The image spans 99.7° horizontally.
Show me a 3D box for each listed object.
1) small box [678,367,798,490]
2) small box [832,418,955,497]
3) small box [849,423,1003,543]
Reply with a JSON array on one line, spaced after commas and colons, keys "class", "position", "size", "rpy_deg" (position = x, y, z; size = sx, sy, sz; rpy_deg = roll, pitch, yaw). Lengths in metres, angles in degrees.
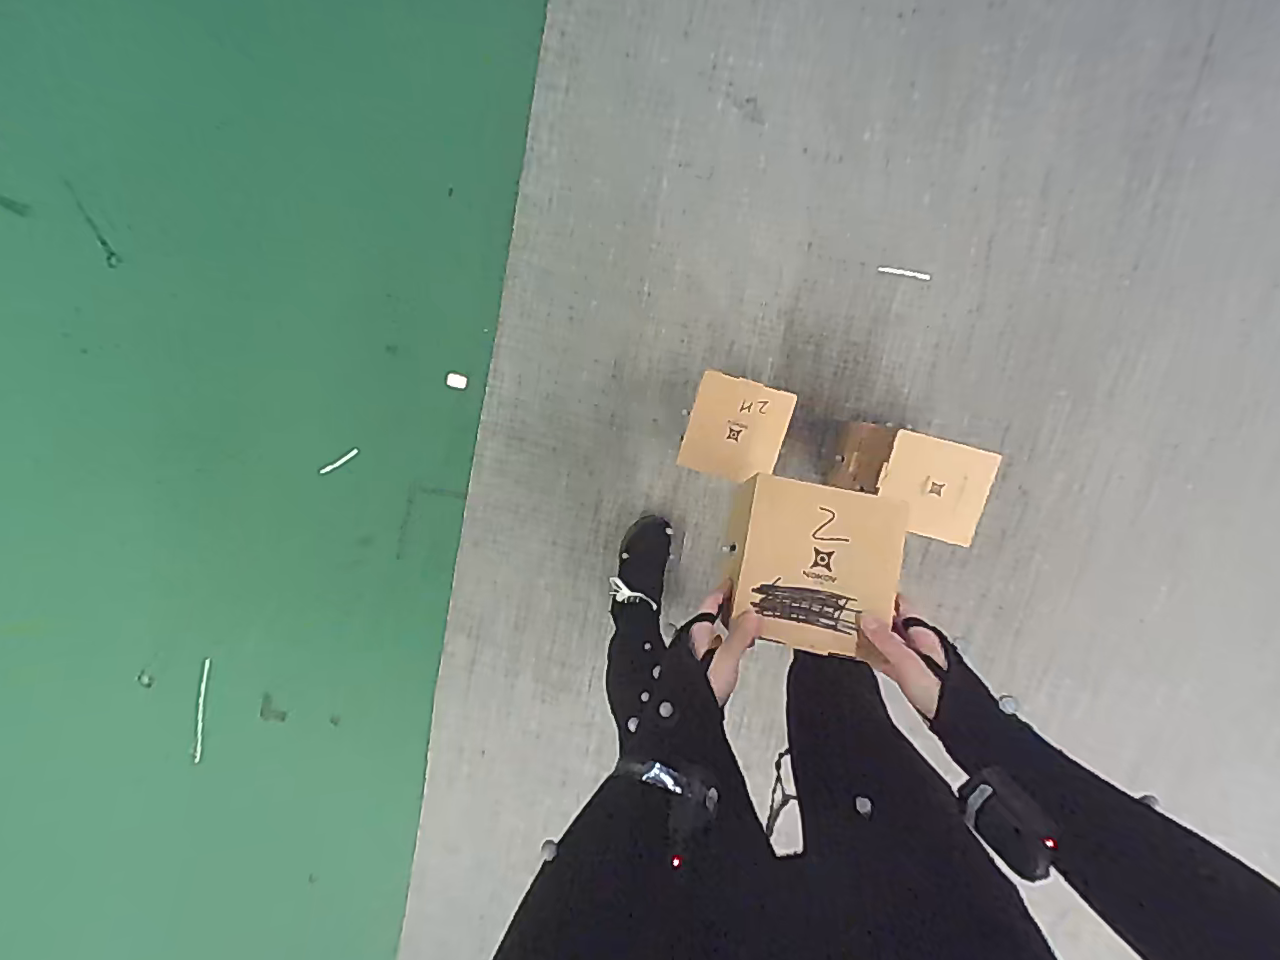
[{"class": "small box", "position": [0.177, -0.098, 1.010], "size": [0.168, 0.176, 0.179], "rpy_deg": [17, 99, 3]}, {"class": "small box", "position": [0.524, -0.032, 1.145], "size": [0.179, 0.176, 0.168], "rpy_deg": [13, 99, 6]}, {"class": "small box", "position": [0.504, -0.002, 0.985], "size": [0.179, 0.176, 0.168], "rpy_deg": [15, 99, 4]}]
